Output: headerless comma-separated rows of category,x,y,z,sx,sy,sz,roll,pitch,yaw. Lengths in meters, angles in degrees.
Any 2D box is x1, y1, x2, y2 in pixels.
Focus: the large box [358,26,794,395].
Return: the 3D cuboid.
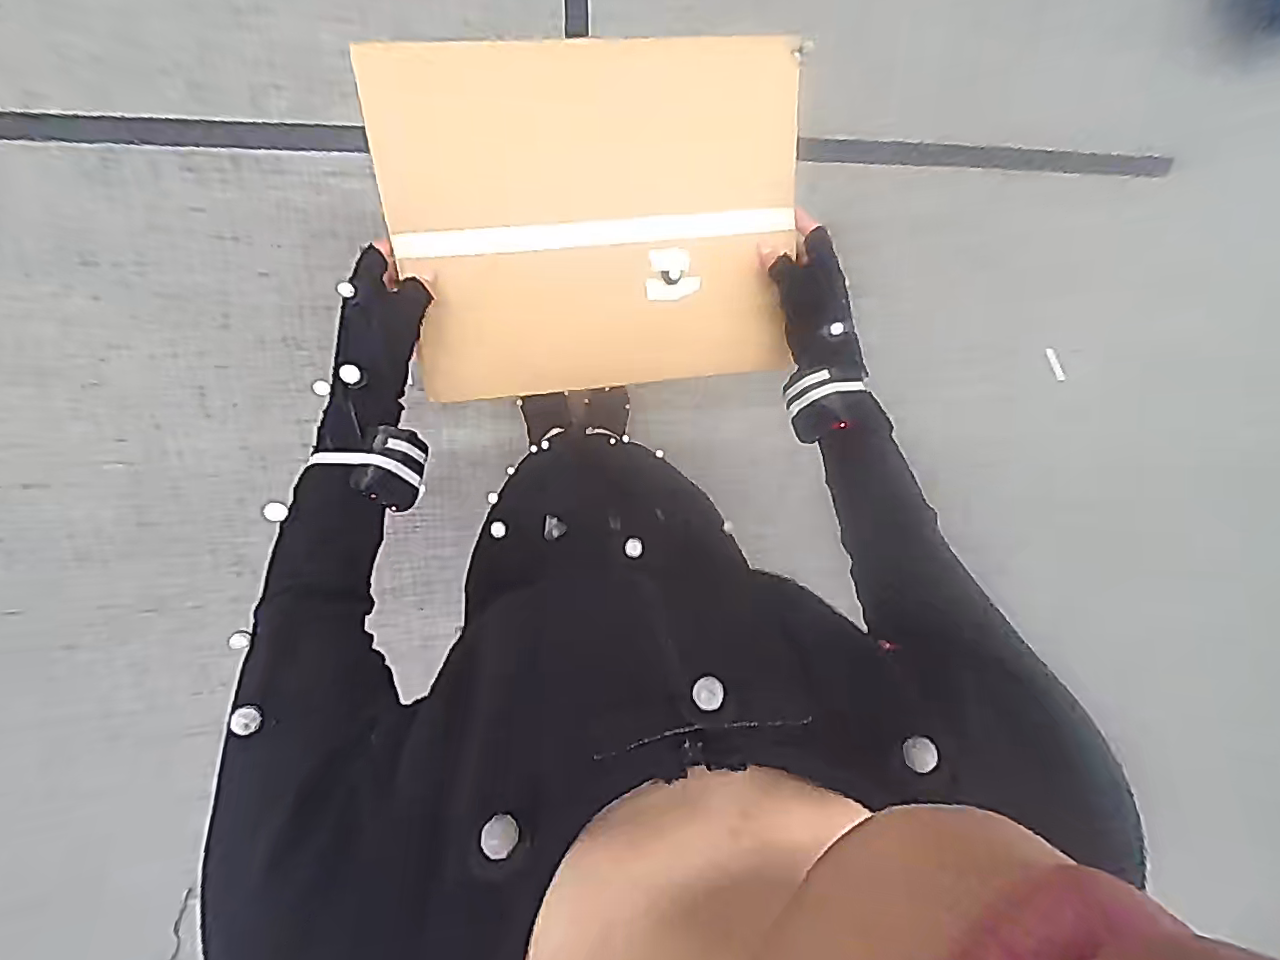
large box,-0.063,-0.312,0.677,0.408,0.320,0.320,-8,114,-8
